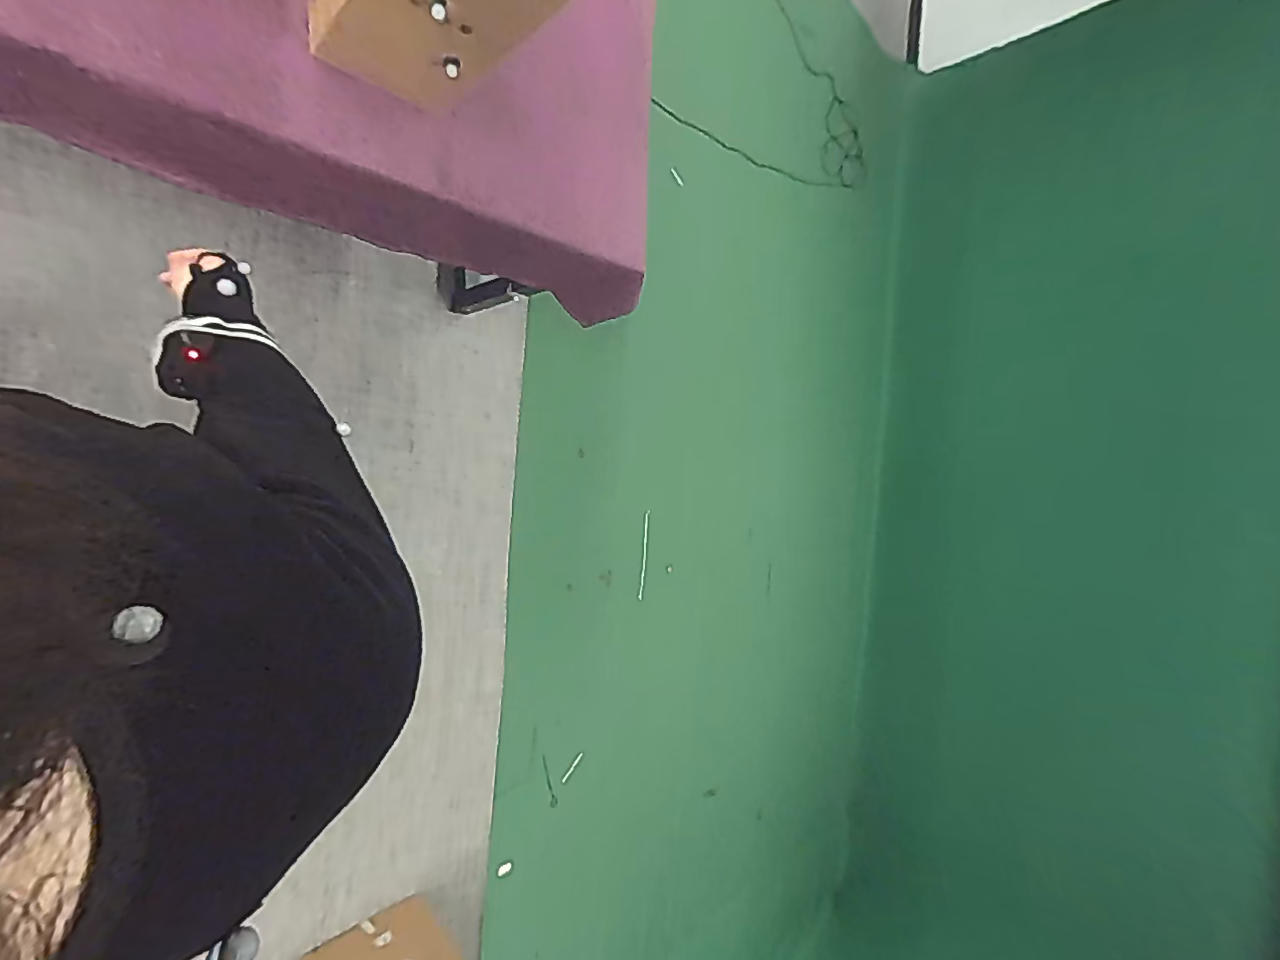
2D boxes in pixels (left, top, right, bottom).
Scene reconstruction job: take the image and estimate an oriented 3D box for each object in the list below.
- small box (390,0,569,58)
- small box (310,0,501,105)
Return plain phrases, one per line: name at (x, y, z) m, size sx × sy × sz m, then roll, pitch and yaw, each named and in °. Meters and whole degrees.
small box at (-0.177, -0.607, 0.567) m, size 0.168 × 0.176 × 0.179 m, roll -4°, pitch 97°, yaw -45°
small box at (-0.293, -0.615, 0.682) m, size 0.179 × 0.176 × 0.168 m, roll -2°, pitch 95°, yaw -46°
